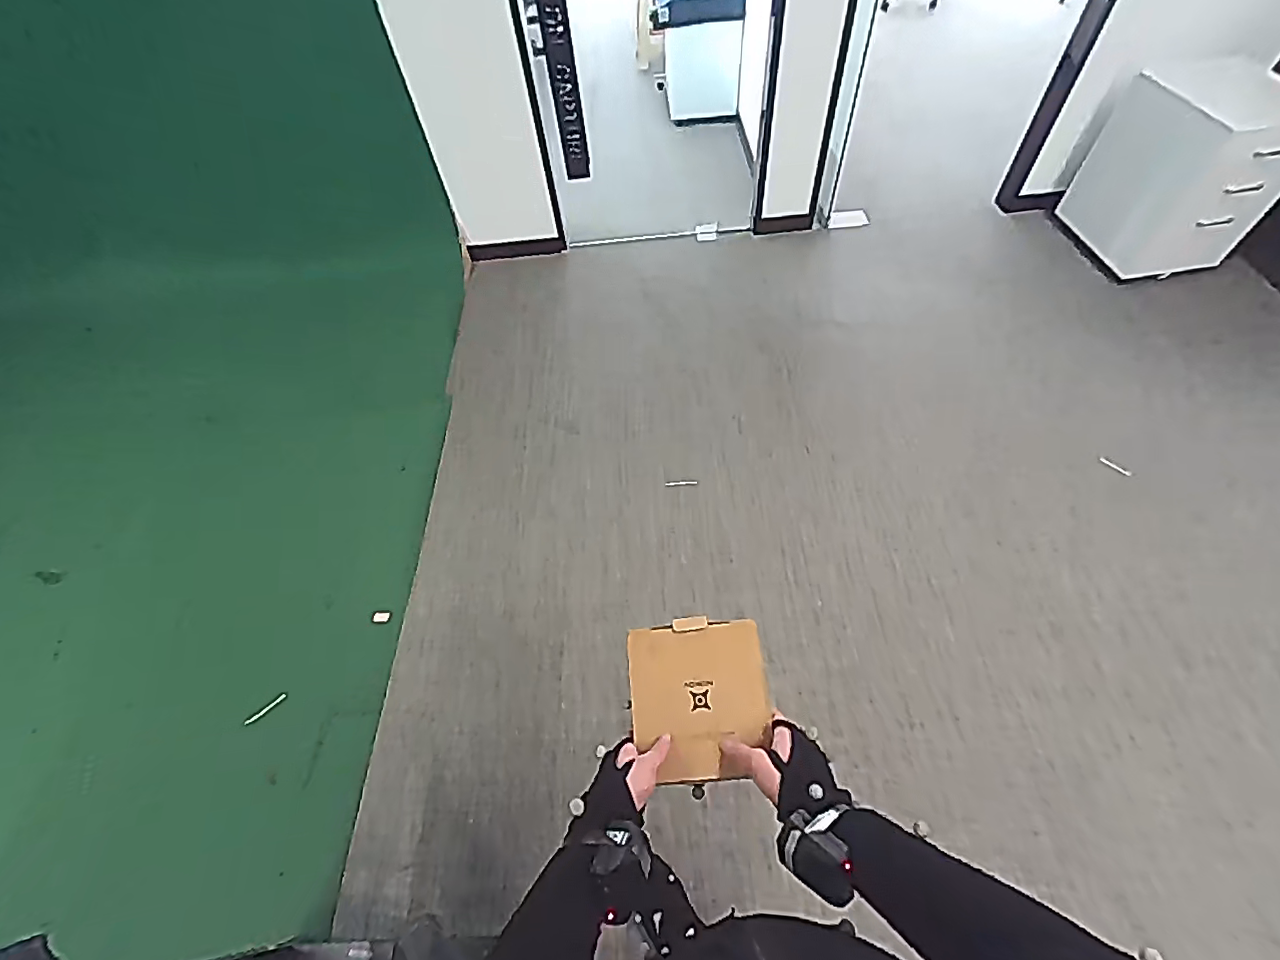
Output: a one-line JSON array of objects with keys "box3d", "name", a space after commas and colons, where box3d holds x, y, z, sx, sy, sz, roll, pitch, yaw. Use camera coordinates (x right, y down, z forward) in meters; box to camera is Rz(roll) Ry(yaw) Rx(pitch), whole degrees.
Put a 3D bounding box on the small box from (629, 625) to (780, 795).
[{"box3d": [0.075, 0.299, 0.695, 0.168, 0.176, 0.179, -5, 59, 4], "name": "small box"}]
